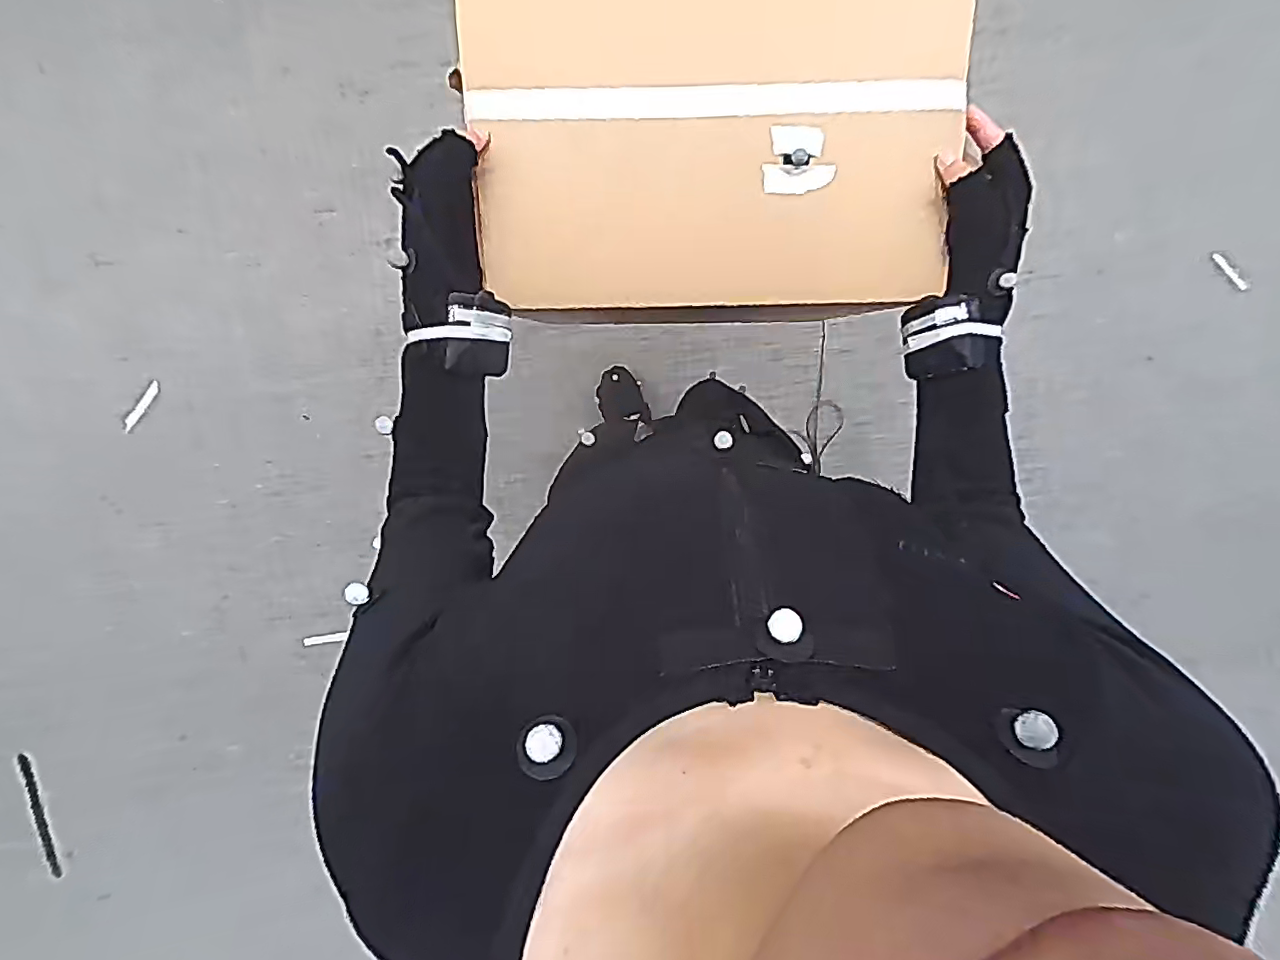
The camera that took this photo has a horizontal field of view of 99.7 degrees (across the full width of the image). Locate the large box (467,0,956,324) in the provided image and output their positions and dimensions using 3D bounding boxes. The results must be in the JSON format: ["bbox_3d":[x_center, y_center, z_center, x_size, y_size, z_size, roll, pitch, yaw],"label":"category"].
[{"bbox_3d":[0.057,-0.348,0.600,0.408,0.320,0.320,-2,104,-1],"label":"large box"}]
